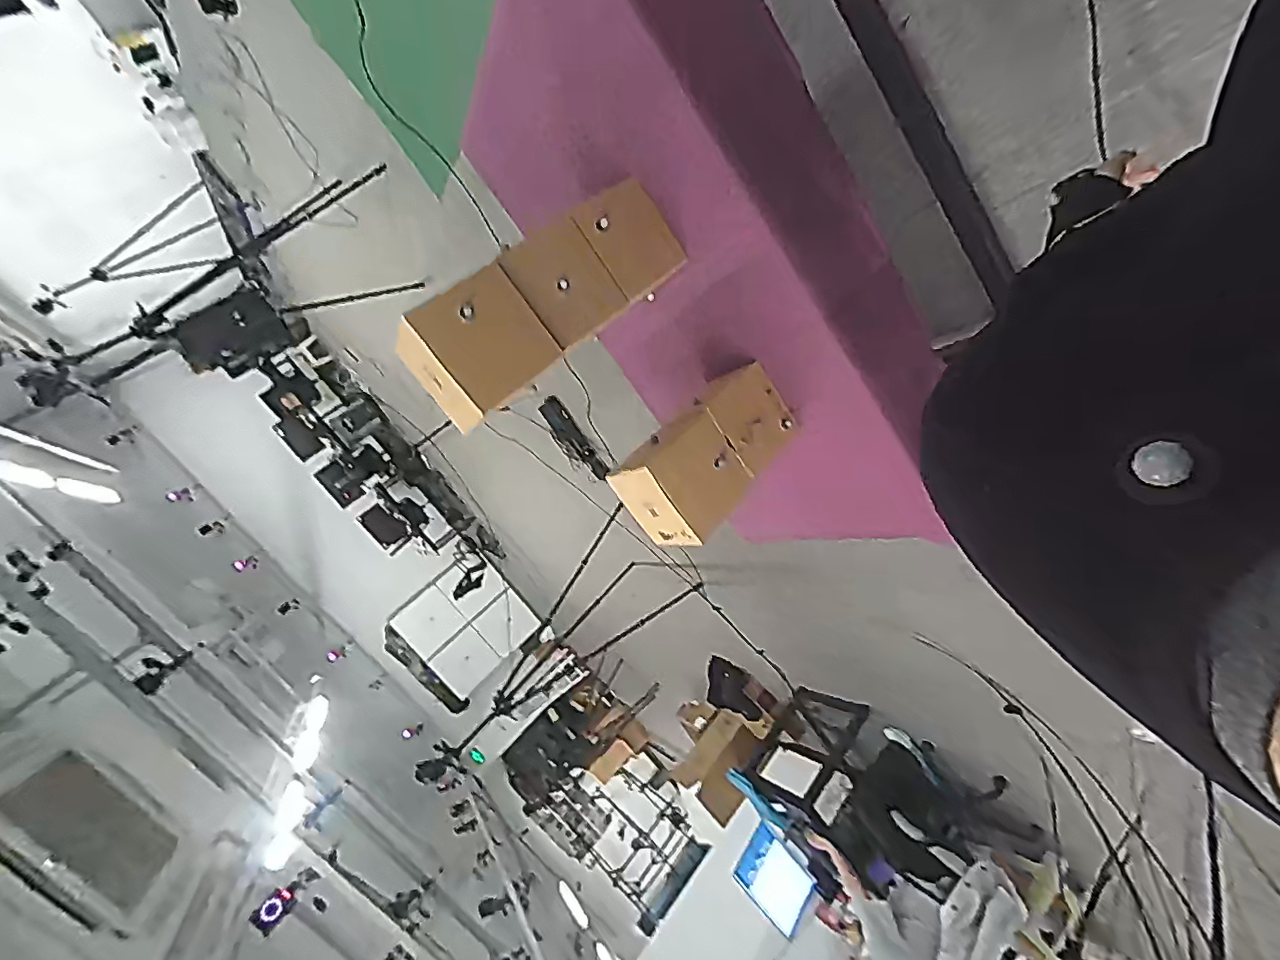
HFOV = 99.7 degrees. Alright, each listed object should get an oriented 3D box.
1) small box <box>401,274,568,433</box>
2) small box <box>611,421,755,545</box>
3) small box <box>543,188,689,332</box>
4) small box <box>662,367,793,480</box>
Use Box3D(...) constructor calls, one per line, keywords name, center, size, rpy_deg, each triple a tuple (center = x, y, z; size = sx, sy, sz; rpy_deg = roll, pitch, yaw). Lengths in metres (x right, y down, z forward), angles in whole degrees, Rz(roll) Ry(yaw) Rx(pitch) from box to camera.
Box3D(name="small box", center=(-0.249, -0.202, 0.865), size=(0.179, 0.176, 0.168), rpy_deg=(53, 155, -14))
Box3D(name="small box", center=(0.083, 0.003, 1.031), size=(0.179, 0.176, 0.168), rpy_deg=(55, 154, -13))
Box3D(name="small box", center=(-0.045, -0.413, 1.013), size=(0.179, 0.176, 0.168), rpy_deg=(54, 154, -13))
Box3D(name="small box", center=(0.185, -0.107, 1.100), size=(0.168, 0.176, 0.179), rpy_deg=(54, 155, -12))
